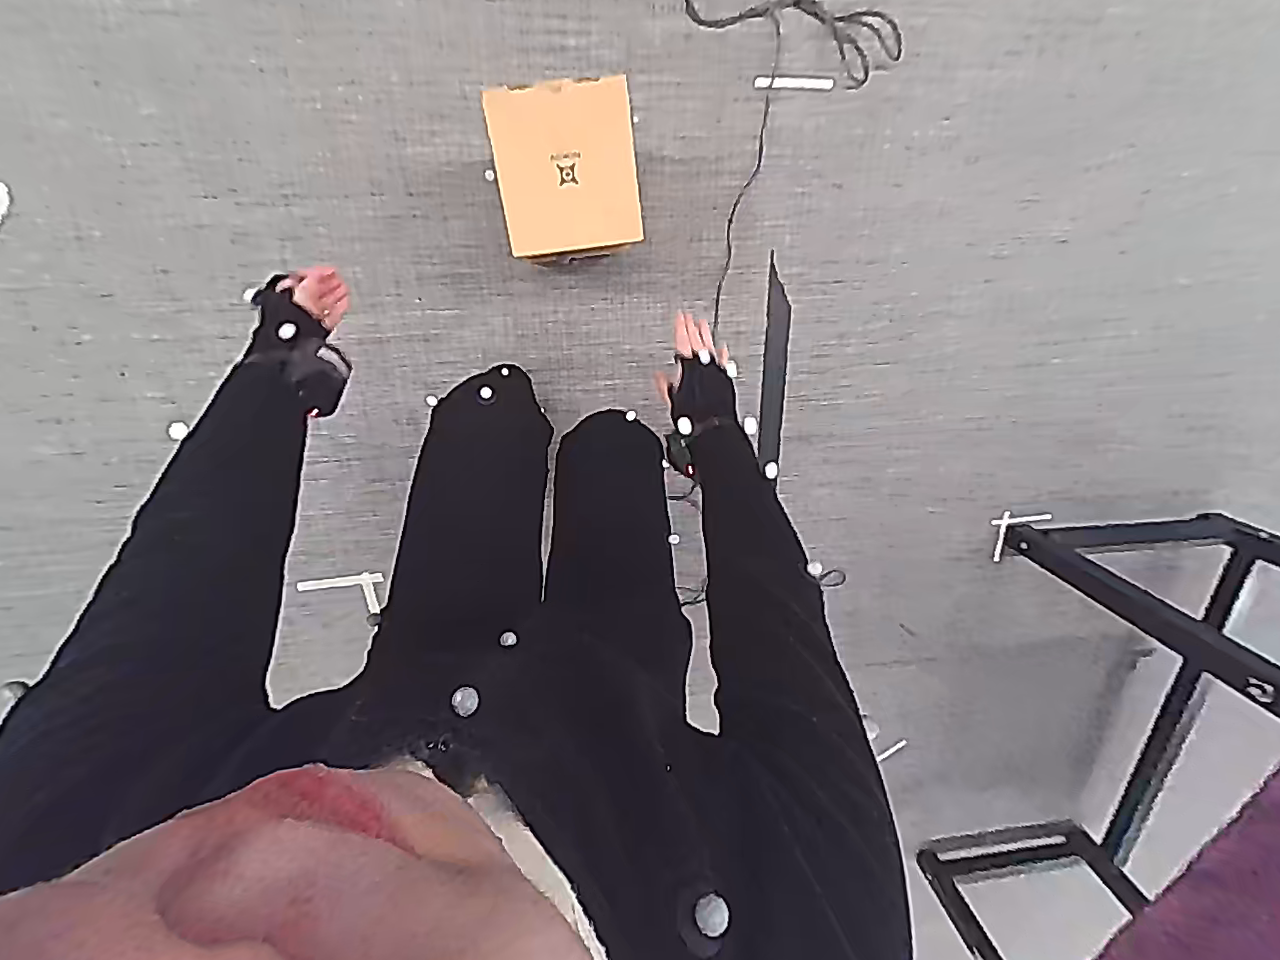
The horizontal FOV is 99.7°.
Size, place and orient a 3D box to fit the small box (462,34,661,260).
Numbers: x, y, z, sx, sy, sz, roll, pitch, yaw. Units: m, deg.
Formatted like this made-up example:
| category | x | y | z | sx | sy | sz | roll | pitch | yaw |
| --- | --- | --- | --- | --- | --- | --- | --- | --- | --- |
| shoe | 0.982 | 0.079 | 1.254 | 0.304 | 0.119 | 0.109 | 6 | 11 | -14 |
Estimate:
| category | x | y | z | sx | sy | sz | roll | pitch | yaw |
| --- | --- | --- | --- | --- | --- | --- | --- | --- | --- |
| small box | -0.087 | -0.396 | 0.668 | 0.179 | 0.176 | 0.168 | -8 | 94 | 15 |
